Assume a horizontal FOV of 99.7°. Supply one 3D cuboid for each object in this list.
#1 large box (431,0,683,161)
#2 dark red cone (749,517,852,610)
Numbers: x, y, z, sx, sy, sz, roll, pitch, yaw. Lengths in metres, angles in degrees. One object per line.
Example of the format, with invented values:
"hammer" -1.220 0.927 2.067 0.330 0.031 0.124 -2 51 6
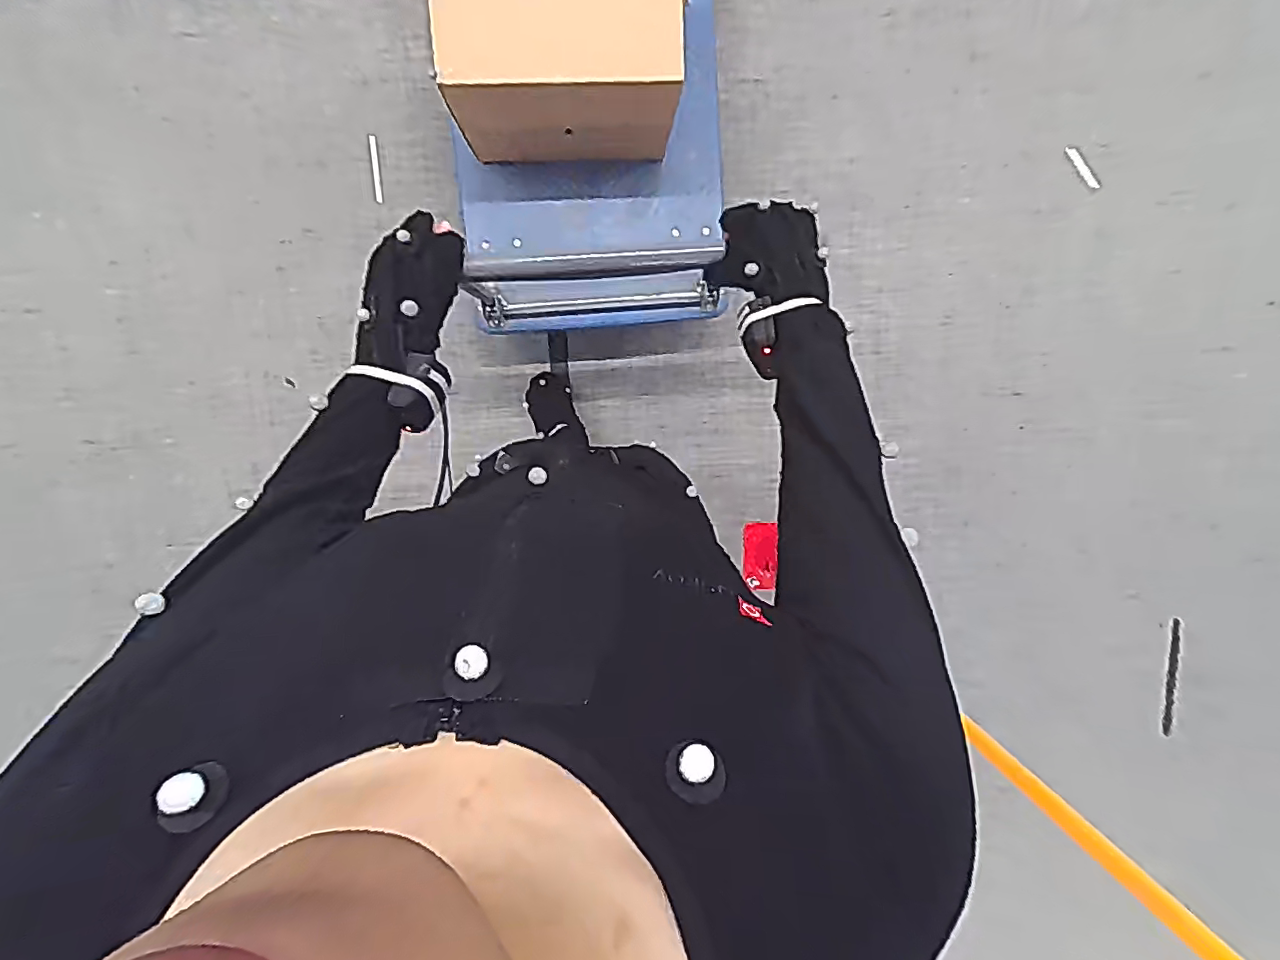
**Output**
"large box" -0.142 -0.823 1.007 0.408 0.320 0.320 -3 100 -2
"dark red cone" 0.417 0.231 1.342 0.201 0.394 0.202 -4 100 -5
